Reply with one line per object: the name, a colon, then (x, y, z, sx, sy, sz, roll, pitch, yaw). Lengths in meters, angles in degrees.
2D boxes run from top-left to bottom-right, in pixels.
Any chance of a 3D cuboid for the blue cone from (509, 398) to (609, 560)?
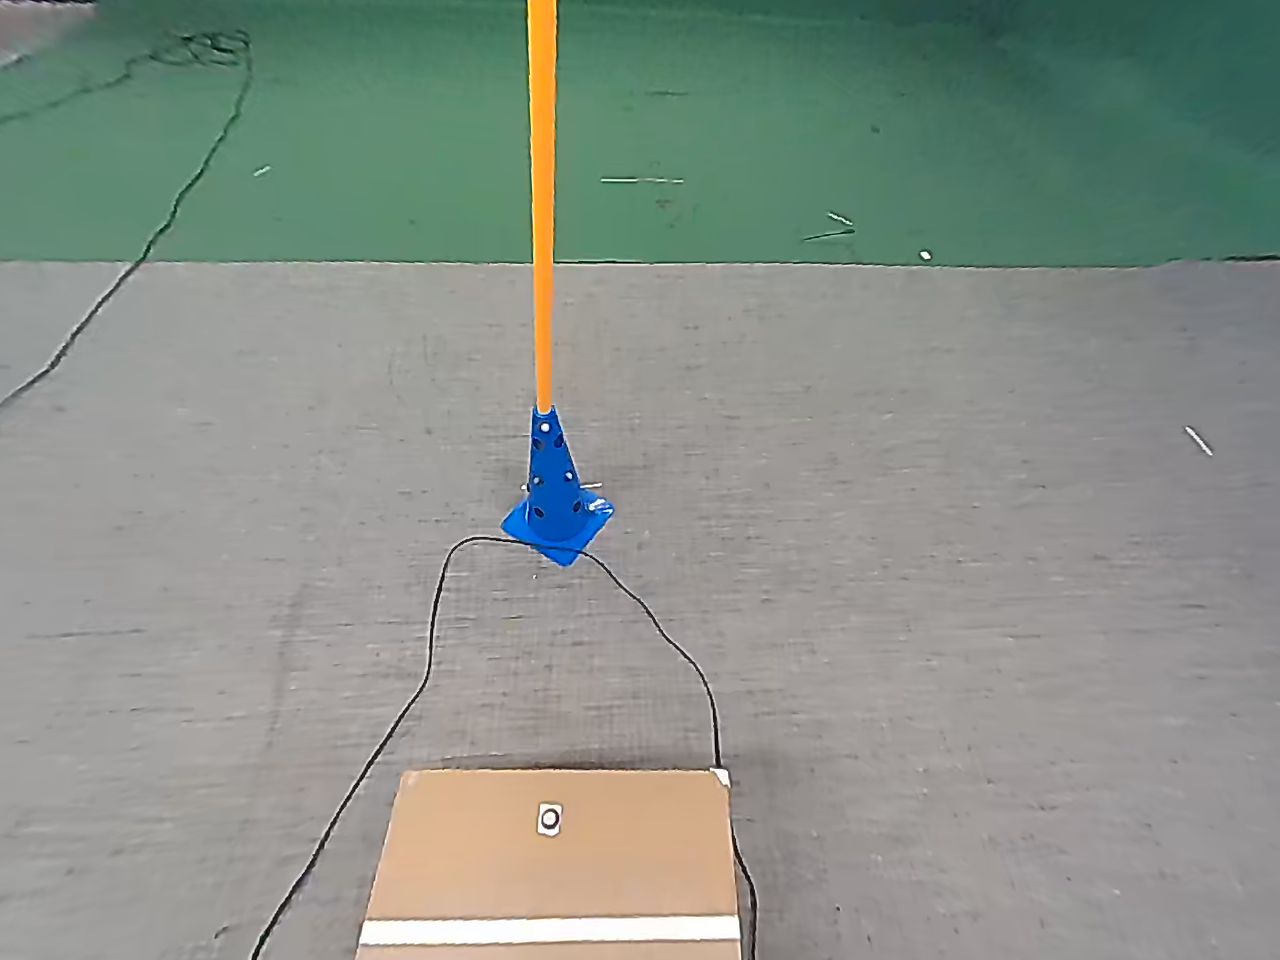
blue cone: (-0.176, -0.022, 1.118, 0.192, 0.380, 0.193, 26, 54, 15)
